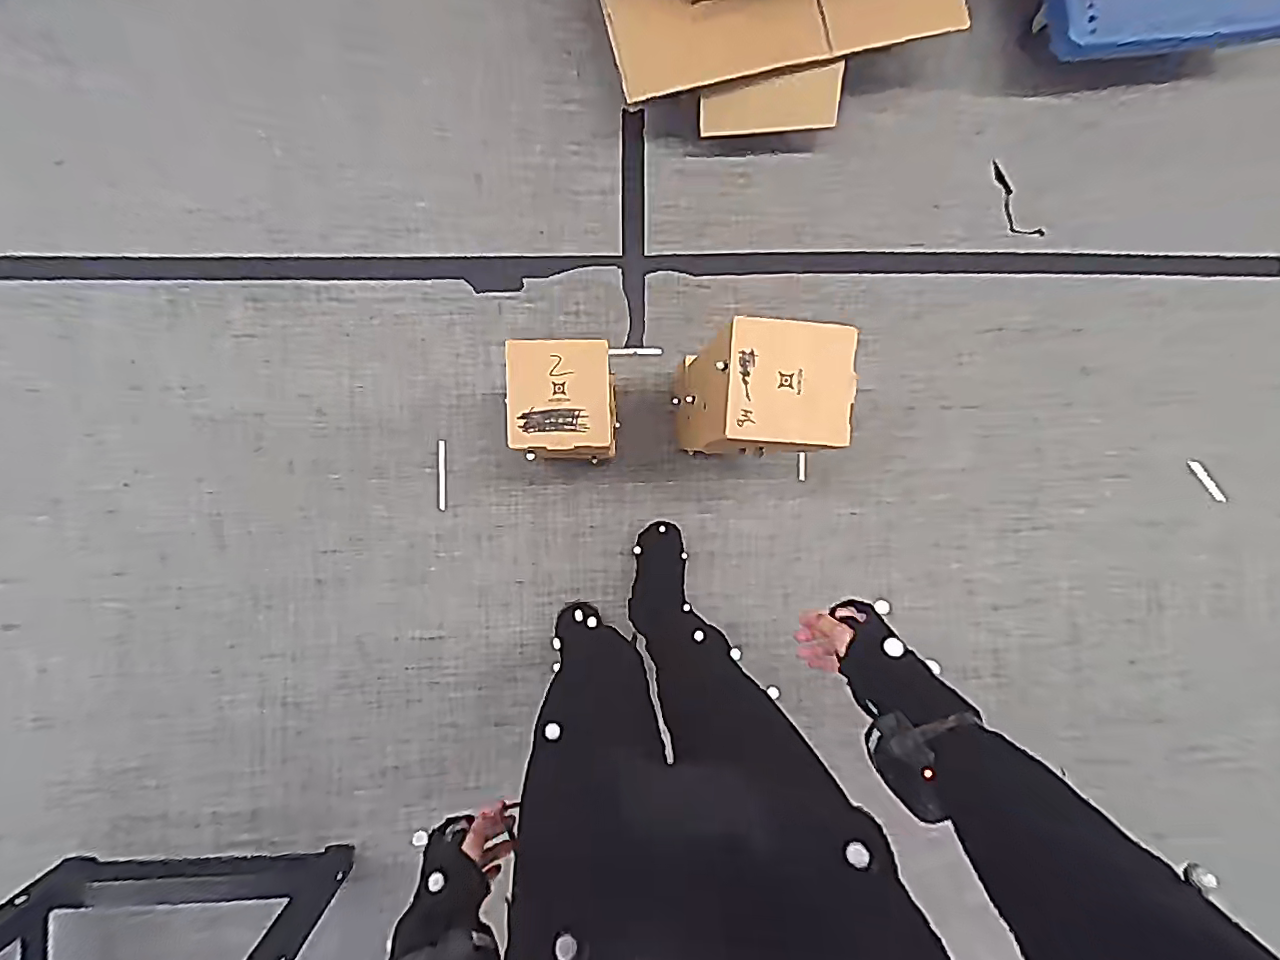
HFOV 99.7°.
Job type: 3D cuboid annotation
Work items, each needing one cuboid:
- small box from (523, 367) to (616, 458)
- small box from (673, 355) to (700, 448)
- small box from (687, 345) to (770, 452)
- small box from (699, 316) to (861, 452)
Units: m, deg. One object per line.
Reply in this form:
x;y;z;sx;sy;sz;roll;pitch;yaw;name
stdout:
-0.140;-0.130;1.101;0.179;0.176;0.168;0;91;-5;small box
0.163;-0.156;1.126;0.168;0.176;0.179;-1;90;-6;small box
0.182;-0.136;0.963;0.179;0.176;0.168;1;91;-6;small box
0.197;-0.130;0.800;0.179;0.176;0.168;4;91;-6;small box
